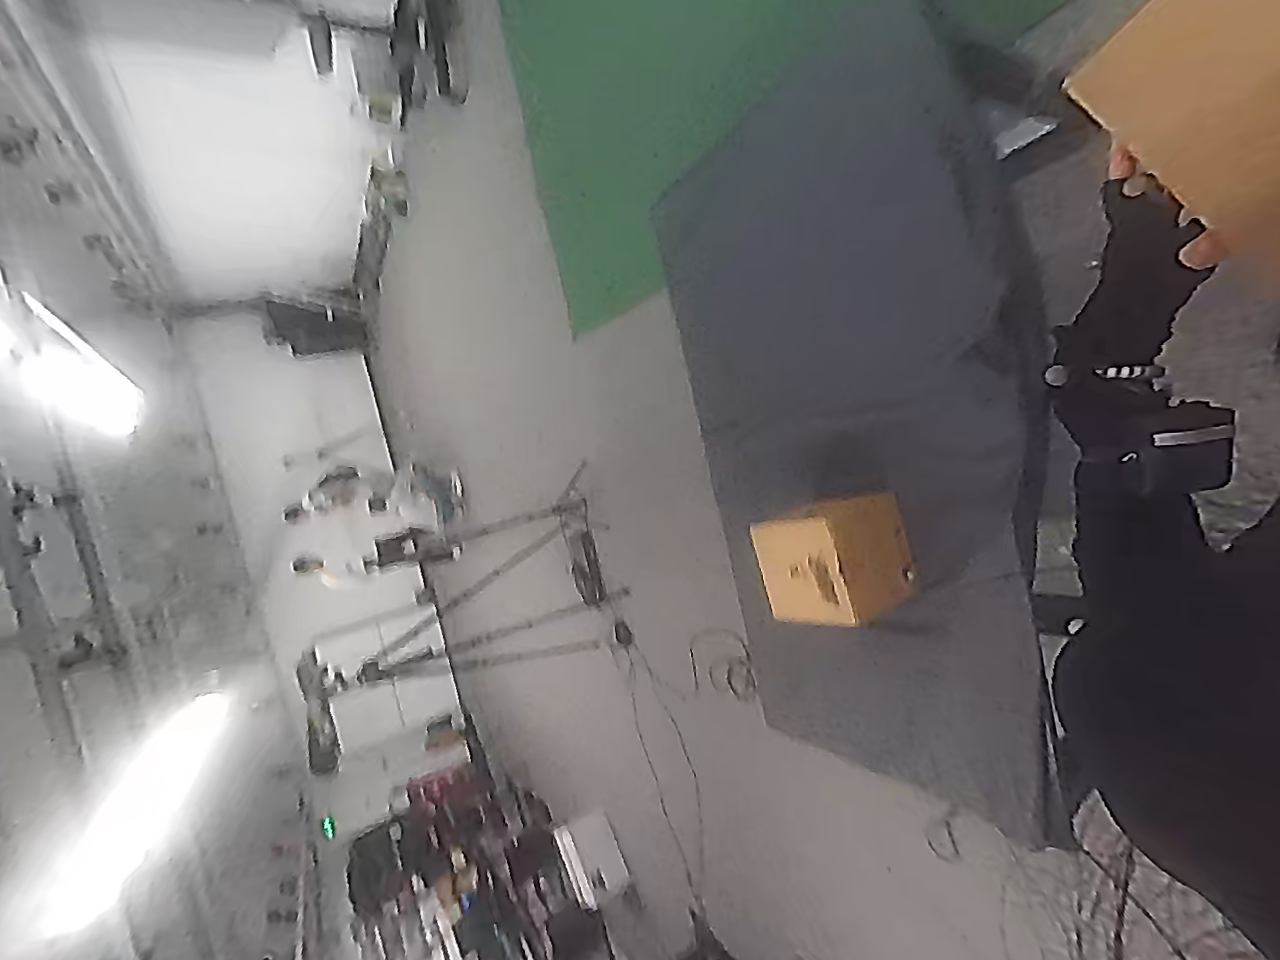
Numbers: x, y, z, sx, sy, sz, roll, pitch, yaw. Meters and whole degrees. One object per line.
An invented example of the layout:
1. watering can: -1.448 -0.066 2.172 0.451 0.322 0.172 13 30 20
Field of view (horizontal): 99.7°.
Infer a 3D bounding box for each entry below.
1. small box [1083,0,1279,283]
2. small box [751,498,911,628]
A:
1. small box: 0.381 -0.243 0.288 0.179 0.176 0.168 46 140 0
2. small box: 0.323 0.134 0.904 0.179 0.176 0.168 -18 87 59
